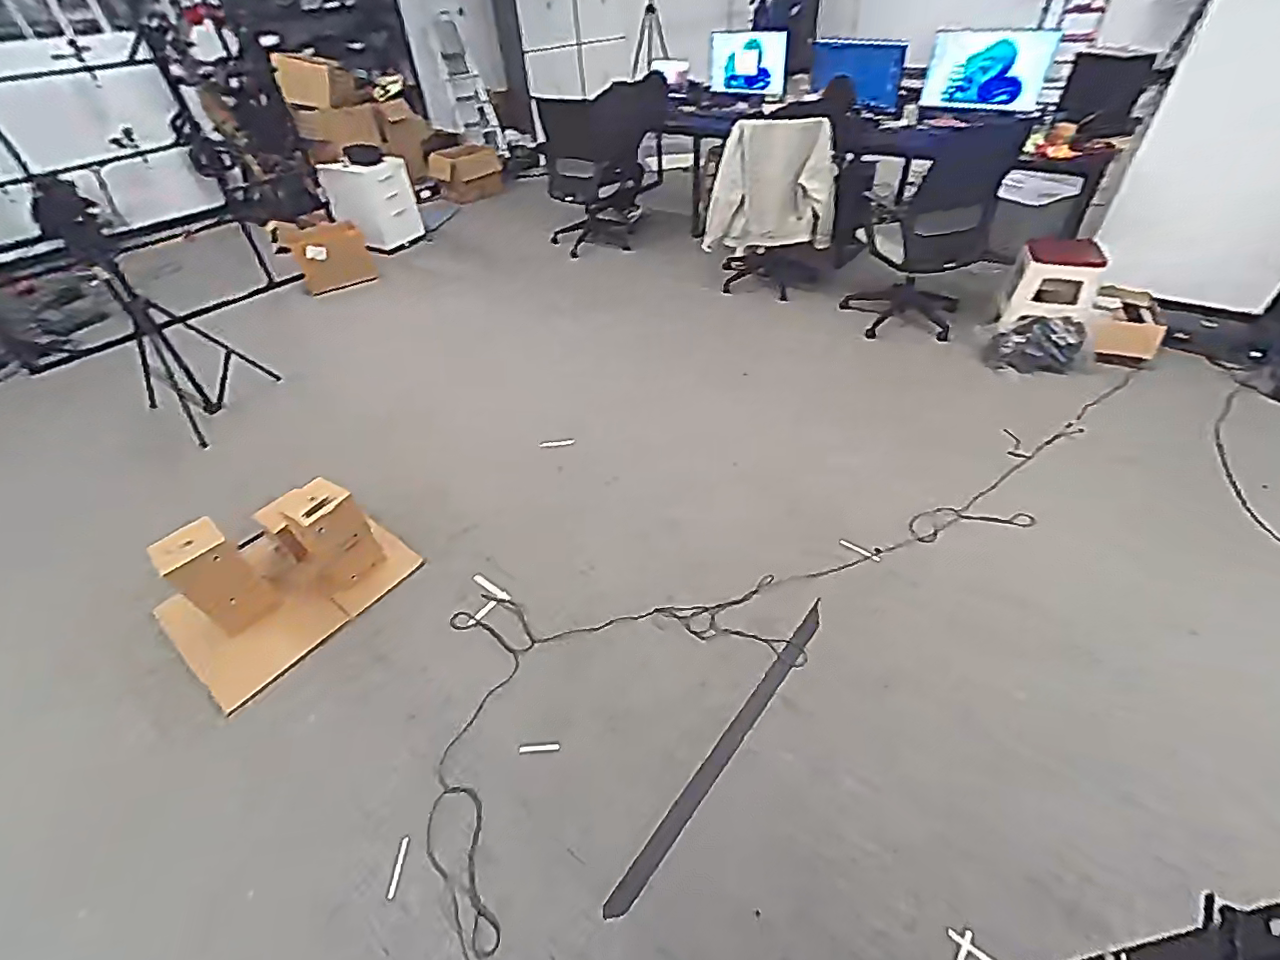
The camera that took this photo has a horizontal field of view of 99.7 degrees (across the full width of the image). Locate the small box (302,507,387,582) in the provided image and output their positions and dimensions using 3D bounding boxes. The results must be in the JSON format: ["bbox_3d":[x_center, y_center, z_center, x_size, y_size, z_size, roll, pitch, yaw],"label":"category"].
[{"bbox_3d":[-1.027,0.230,1.896,0.179,0.176,0.168,22,49,26],"label":"small box"}]

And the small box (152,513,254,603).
[{"bbox_3d":[-1.336,0.241,1.667,0.168,0.176,0.179,30,54,31],"label":"small box"}]

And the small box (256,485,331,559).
[{"bbox_3d":[-1.256,0.156,1.997,0.168,0.176,0.179,22,50,27],"label":"small box"}]

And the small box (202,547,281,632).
[{"bbox_3d":[-1.324,0.360,1.780,0.168,0.176,0.179,29,54,30],"label":"small box"}]
